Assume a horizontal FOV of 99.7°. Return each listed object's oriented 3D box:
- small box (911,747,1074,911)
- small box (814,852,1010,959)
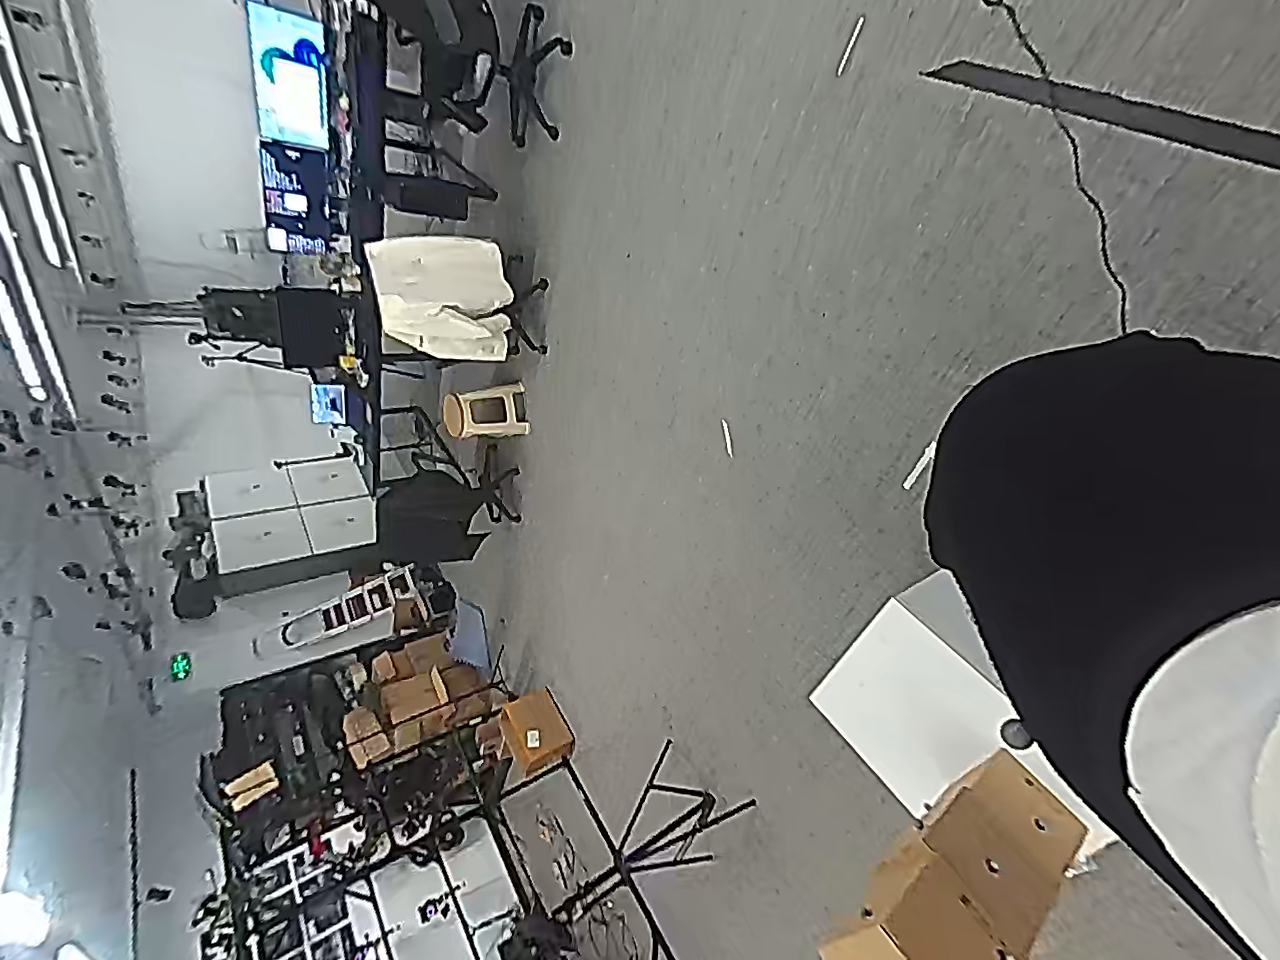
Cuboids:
[{"bbox_3d":[0.650,0.632,0.995,0.168,0.176,0.179,48,134,34],"label":"small box"},{"bbox_3d":[0.400,0.689,0.789,0.168,0.176,0.179,50,136,31],"label":"small box"}]
